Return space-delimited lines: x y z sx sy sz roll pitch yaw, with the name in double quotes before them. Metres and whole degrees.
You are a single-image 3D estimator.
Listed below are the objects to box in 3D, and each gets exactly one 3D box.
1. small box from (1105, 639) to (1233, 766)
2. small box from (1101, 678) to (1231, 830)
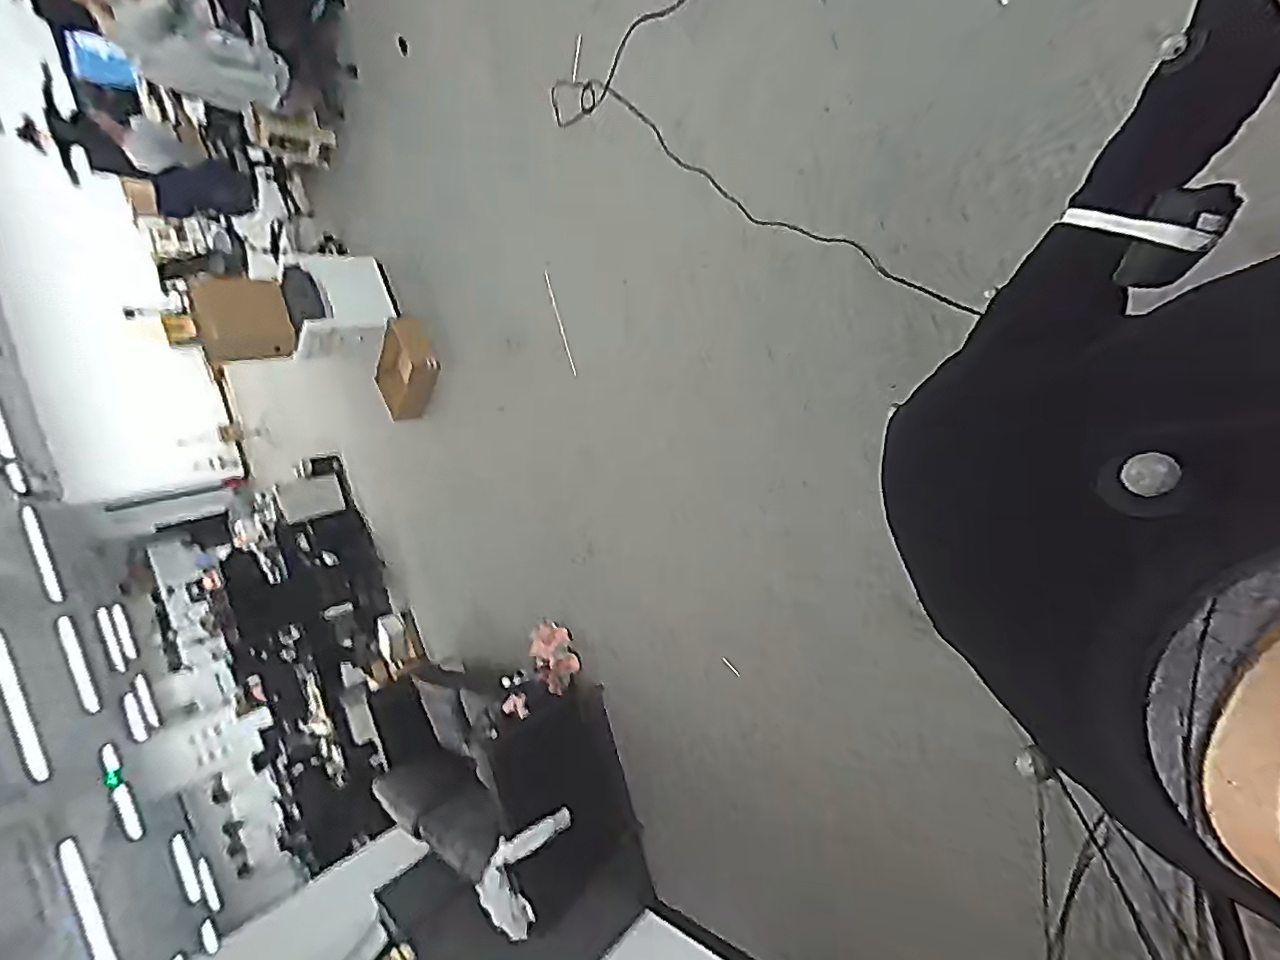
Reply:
"small box" 1.114 0.457 1.138 0.168 0.176 0.179 -12 93 49
"small box" 0.999 0.504 1.029 0.168 0.176 0.179 -3 100 48
